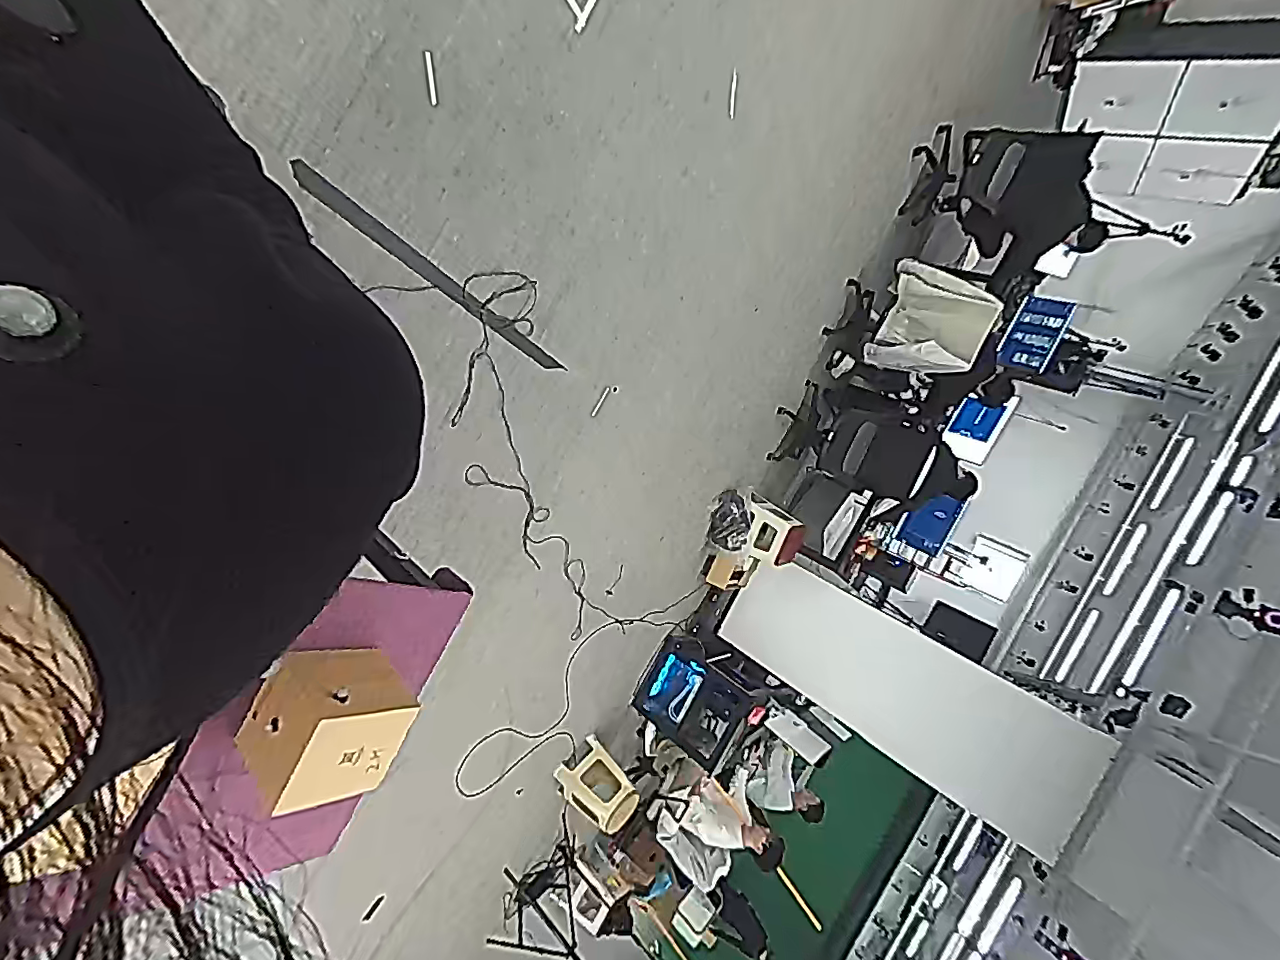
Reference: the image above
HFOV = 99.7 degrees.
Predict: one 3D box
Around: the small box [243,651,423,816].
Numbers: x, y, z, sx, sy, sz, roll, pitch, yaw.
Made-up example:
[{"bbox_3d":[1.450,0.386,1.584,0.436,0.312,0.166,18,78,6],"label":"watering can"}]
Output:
[{"bbox_3d":[-0.505,0.397,0.886,0.179,0.176,0.168,25,95,-57],"label":"small box"}]
